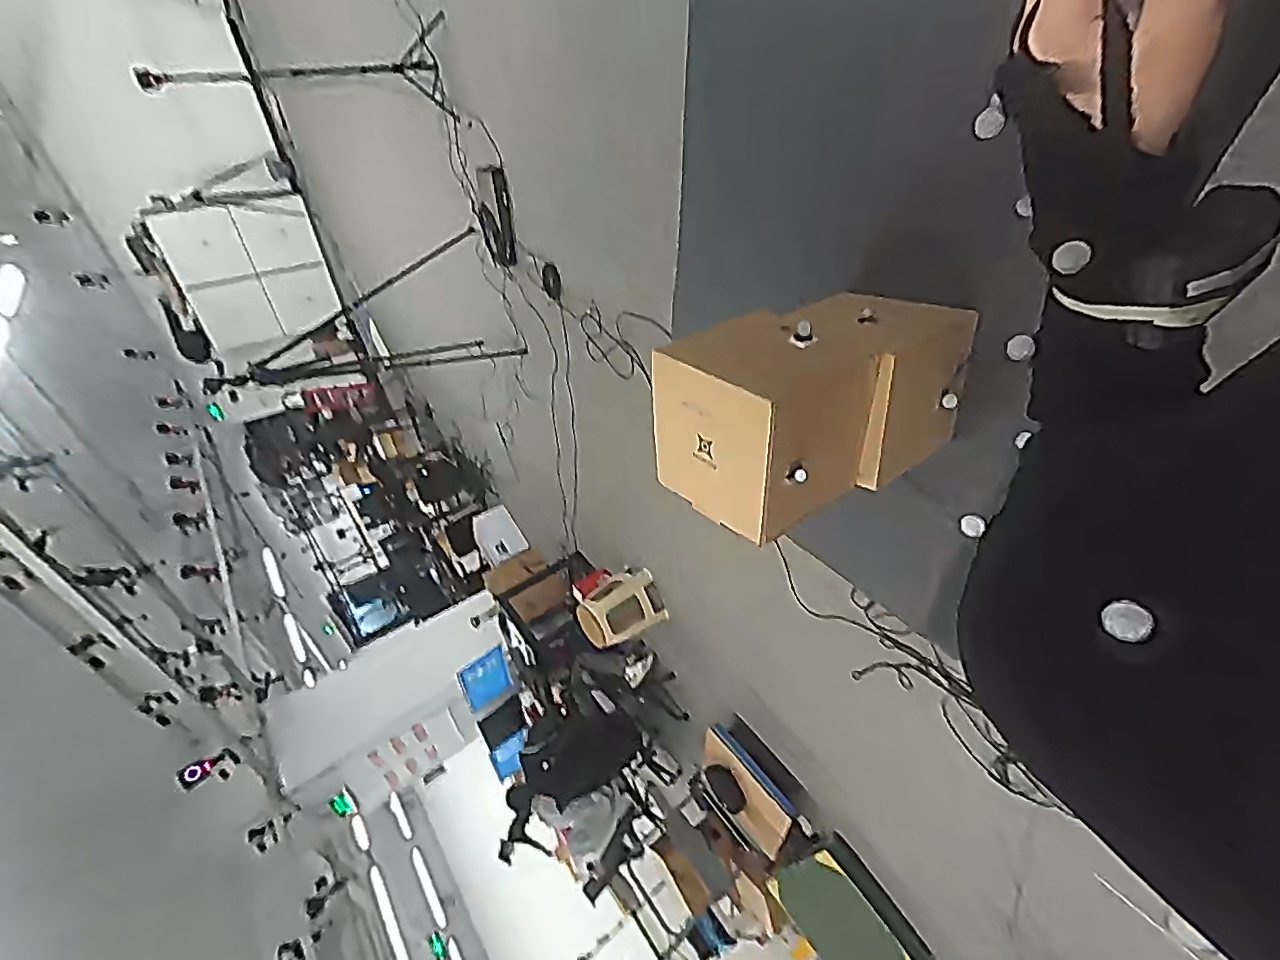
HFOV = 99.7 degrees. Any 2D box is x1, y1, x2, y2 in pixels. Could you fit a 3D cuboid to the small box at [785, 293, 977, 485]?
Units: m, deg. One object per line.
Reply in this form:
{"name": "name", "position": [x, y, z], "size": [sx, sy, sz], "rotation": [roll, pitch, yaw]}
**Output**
{"name": "small box", "position": [0.272, -0.124, 0.668], "size": [0.179, 0.176, 0.168], "rotation": [31, 139, 45]}

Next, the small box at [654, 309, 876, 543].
{"name": "small box", "position": [0.134, -0.069, 0.600], "size": [0.168, 0.176, 0.179], "rotation": [34, 140, 41]}
